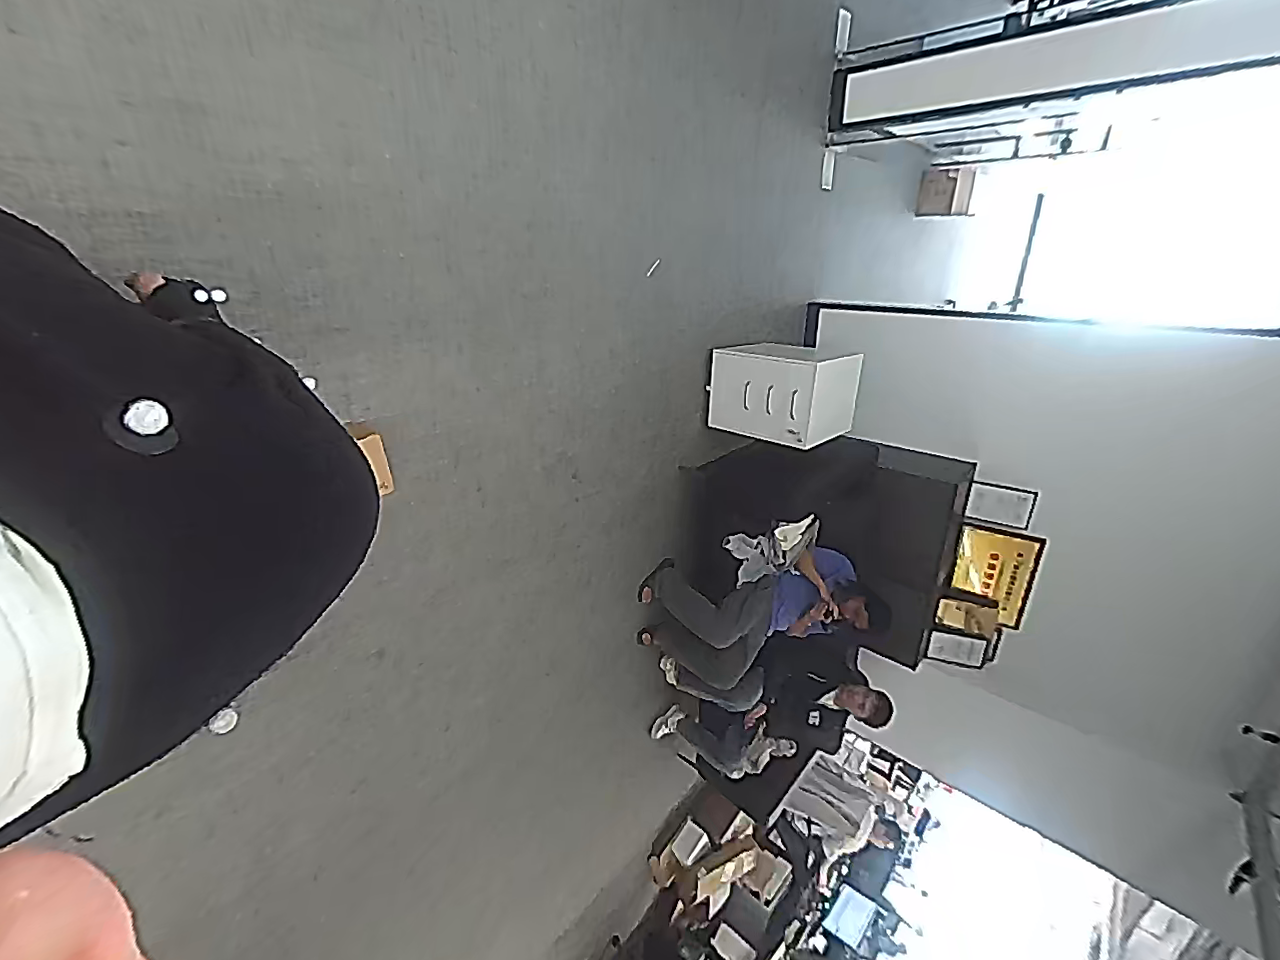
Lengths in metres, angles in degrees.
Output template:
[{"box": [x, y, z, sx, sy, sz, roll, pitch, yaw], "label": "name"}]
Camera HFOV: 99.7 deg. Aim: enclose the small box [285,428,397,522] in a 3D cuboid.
[{"box": [-0.813, -0.020, 1.466, 0.179, 0.176, 0.168, -55, 142, -21], "label": "small box"}]
